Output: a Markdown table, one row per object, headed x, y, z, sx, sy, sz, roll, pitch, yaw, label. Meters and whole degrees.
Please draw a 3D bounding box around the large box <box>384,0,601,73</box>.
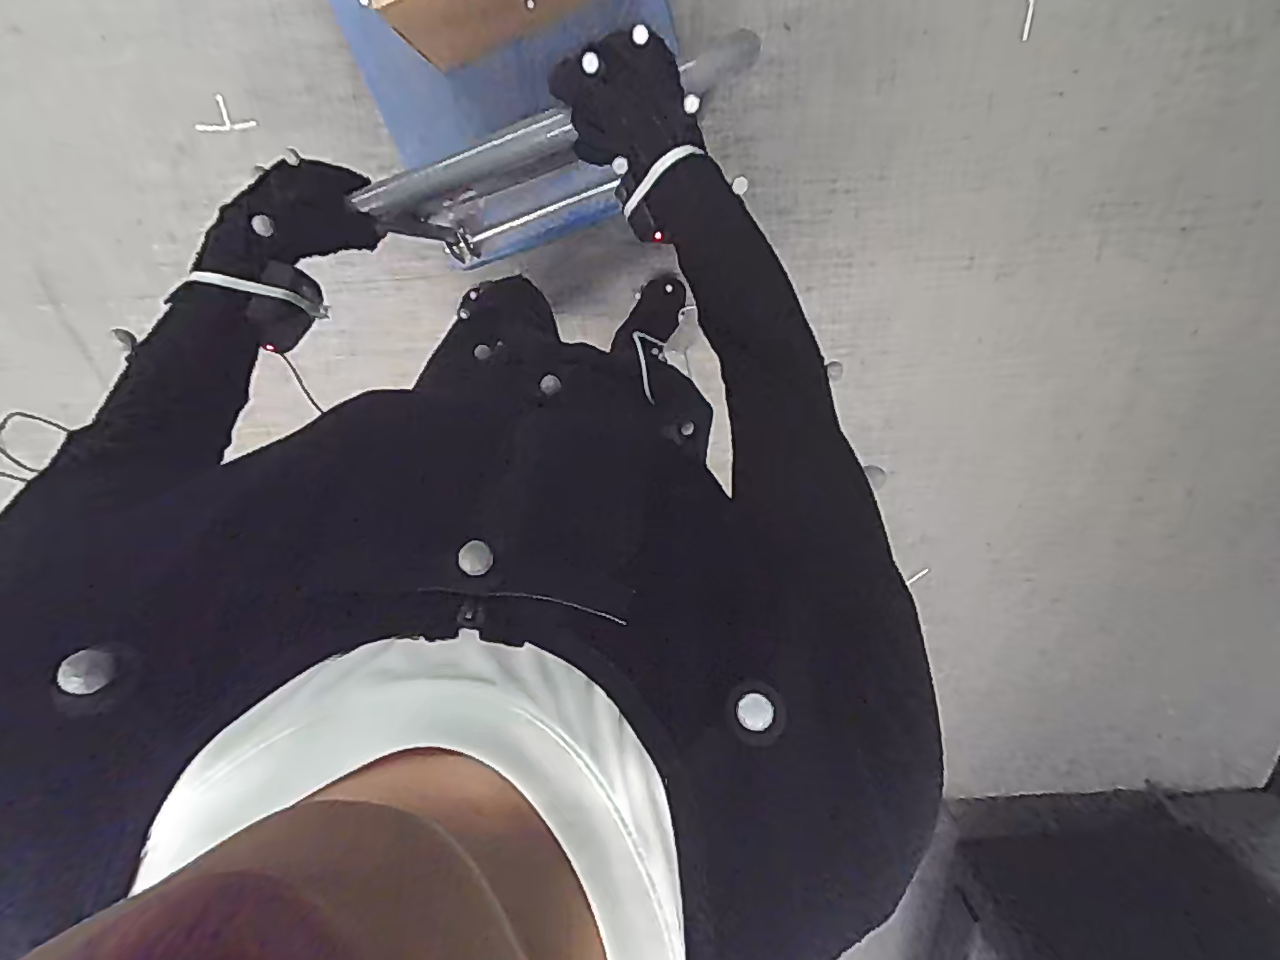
| x | y | z | sx | sy | sz | roll | pitch | yaw | label |
| --- | --- | --- | --- | --- | --- | --- | --- | --- | --- |
| -0.222 | -0.908 | 0.813 | 0.408 | 0.320 | 0.320 | -20 | 112 | 9 | large box |
